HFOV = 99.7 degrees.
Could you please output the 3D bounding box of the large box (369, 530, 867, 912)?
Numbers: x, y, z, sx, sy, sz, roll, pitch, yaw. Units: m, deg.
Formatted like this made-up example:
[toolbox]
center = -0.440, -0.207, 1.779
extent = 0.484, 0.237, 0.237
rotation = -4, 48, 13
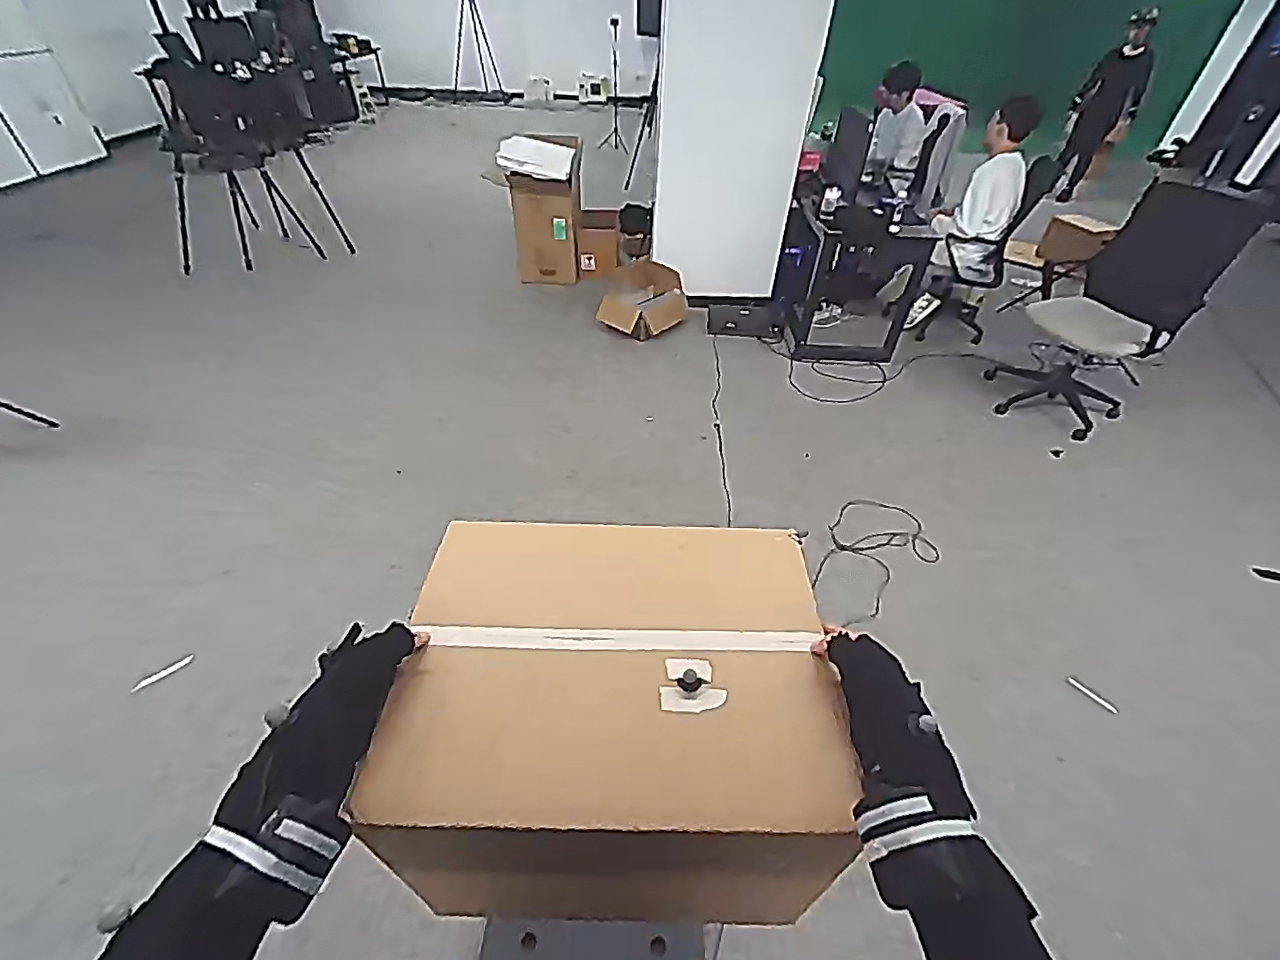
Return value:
[large box]
center = -0.021, 0.276, 0.632
extent = 0.408, 0.320, 0.320
rotation = 2, 41, 0
